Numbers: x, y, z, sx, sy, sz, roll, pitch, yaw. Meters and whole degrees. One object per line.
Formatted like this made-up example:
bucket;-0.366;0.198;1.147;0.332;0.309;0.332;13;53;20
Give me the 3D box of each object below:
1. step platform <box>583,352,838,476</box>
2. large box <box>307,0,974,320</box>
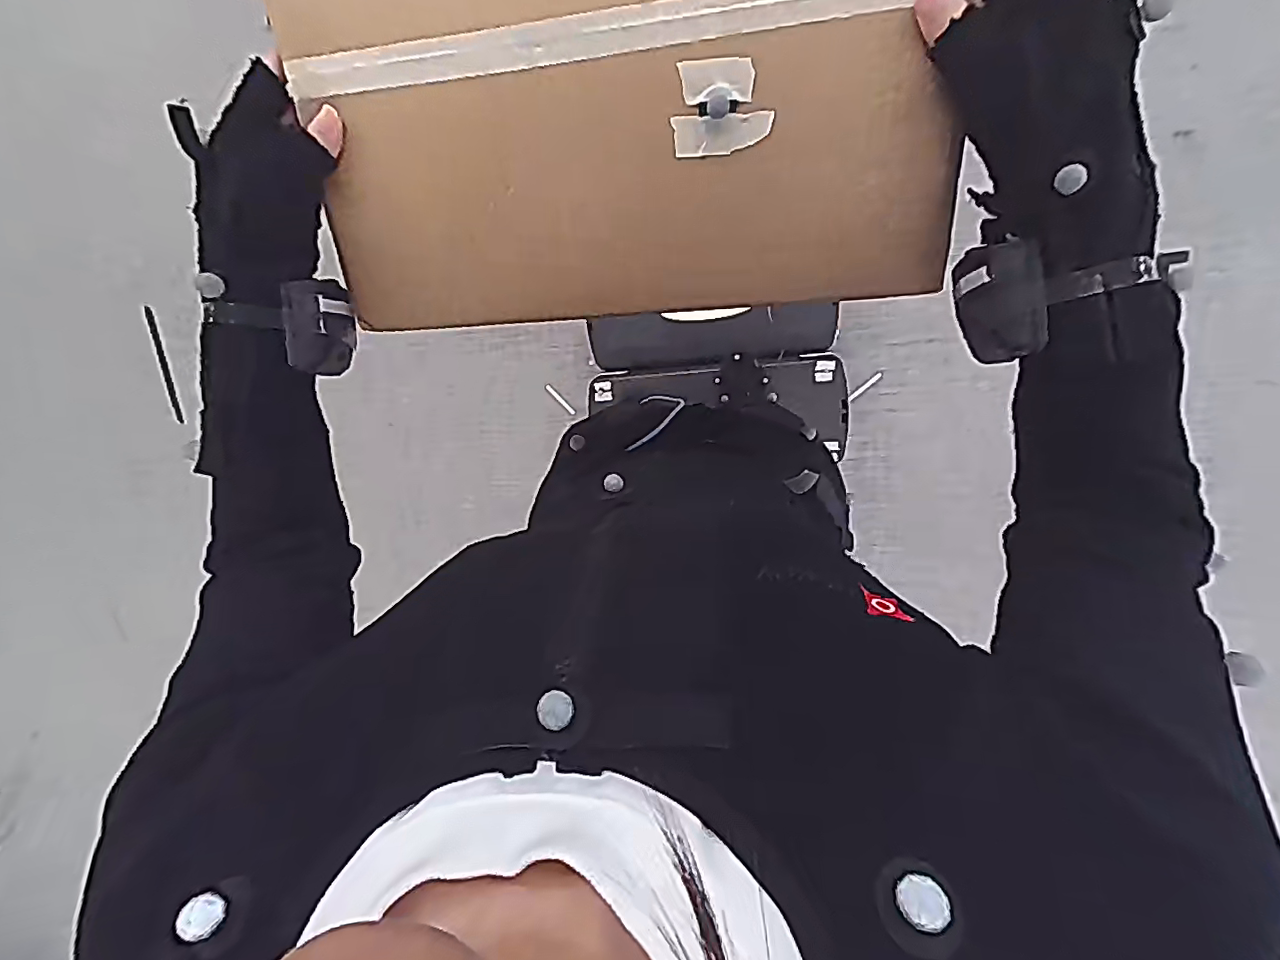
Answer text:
step platform;0.186;-0.178;1.493;0.684;0.204;0.286;-4;102;13
large box;0.007;-0.327;0.460;0.408;0.320;0.320;-1;114;9
